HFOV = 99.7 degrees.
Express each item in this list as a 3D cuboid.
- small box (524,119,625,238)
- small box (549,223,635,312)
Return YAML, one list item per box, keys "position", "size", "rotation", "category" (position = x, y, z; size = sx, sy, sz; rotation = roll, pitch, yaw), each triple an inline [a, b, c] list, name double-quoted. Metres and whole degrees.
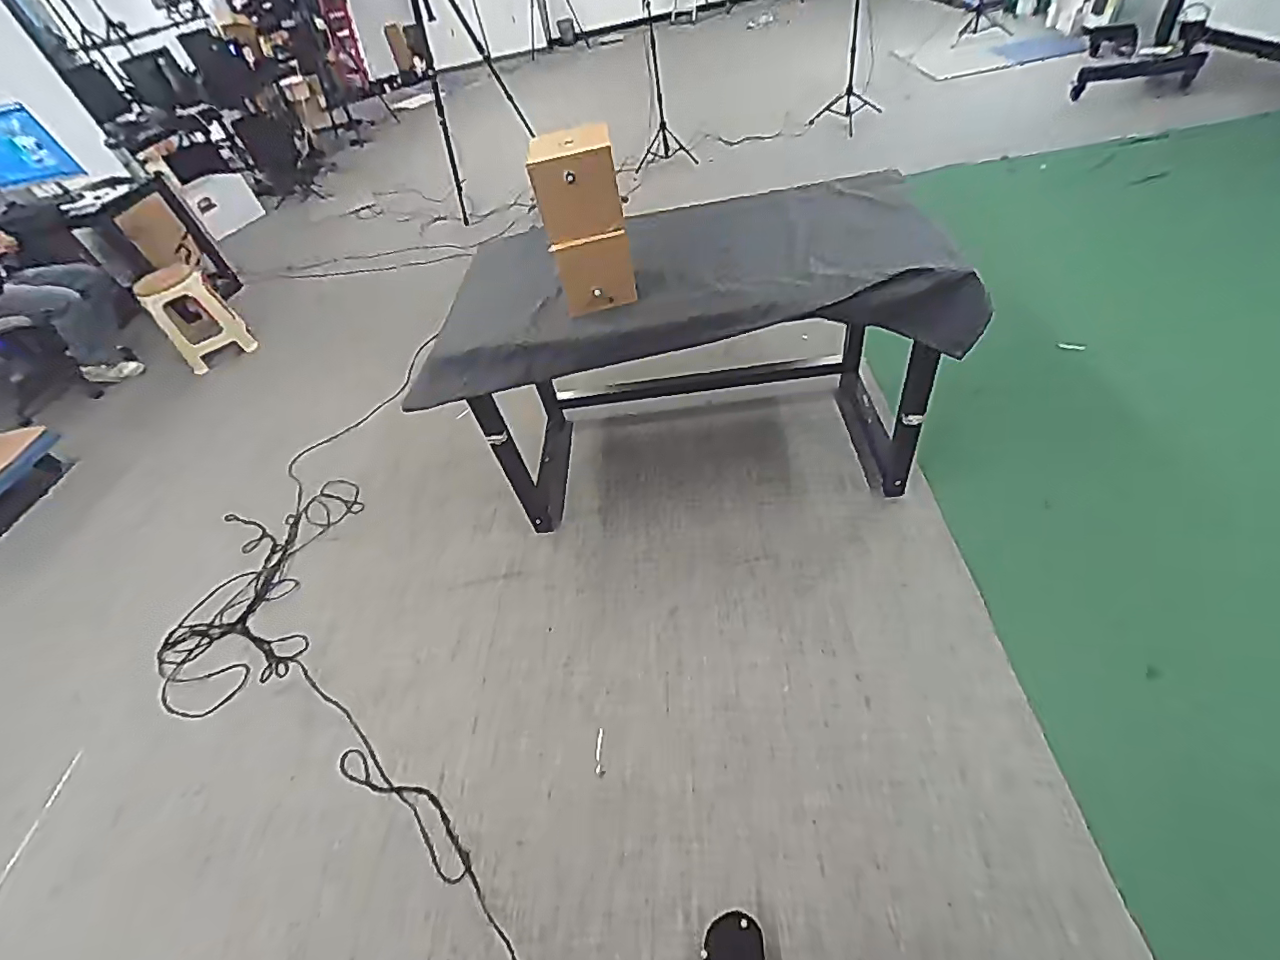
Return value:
- position: [-0.137, -0.642, 1.162]
  size: [0.179, 0.176, 0.168]
  rotation: [-10, 48, 3]
  category: "small box"
- position: [-0.113, -0.523, 1.270]
  size: [0.168, 0.176, 0.179]
  rotation: [-14, 47, 1]
  category: "small box"
